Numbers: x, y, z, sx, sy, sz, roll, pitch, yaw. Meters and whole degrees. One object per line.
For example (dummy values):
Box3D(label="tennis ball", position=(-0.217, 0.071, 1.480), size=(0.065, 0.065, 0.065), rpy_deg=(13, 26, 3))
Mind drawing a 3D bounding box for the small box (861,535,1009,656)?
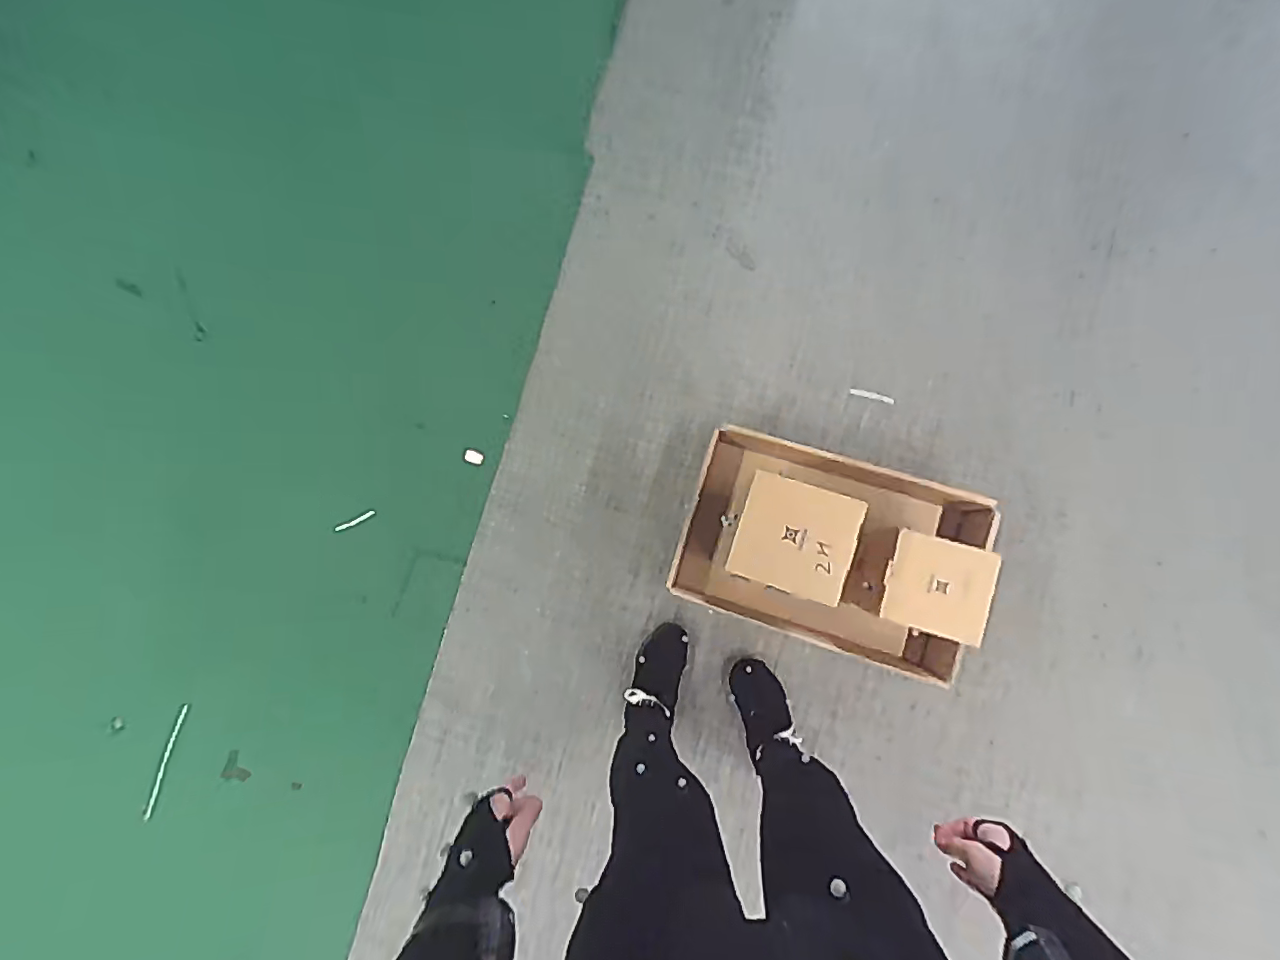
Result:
Box3D(label="small box", position=(0.534, 0.207, 1.007), size=(0.179, 0.176, 0.168), rpy_deg=(16, 87, 9))

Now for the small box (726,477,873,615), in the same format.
Box3D(label="small box", position=(0.247, 0.108, 0.885), size=(0.179, 0.176, 0.168), rpy_deg=(18, 85, 8))
